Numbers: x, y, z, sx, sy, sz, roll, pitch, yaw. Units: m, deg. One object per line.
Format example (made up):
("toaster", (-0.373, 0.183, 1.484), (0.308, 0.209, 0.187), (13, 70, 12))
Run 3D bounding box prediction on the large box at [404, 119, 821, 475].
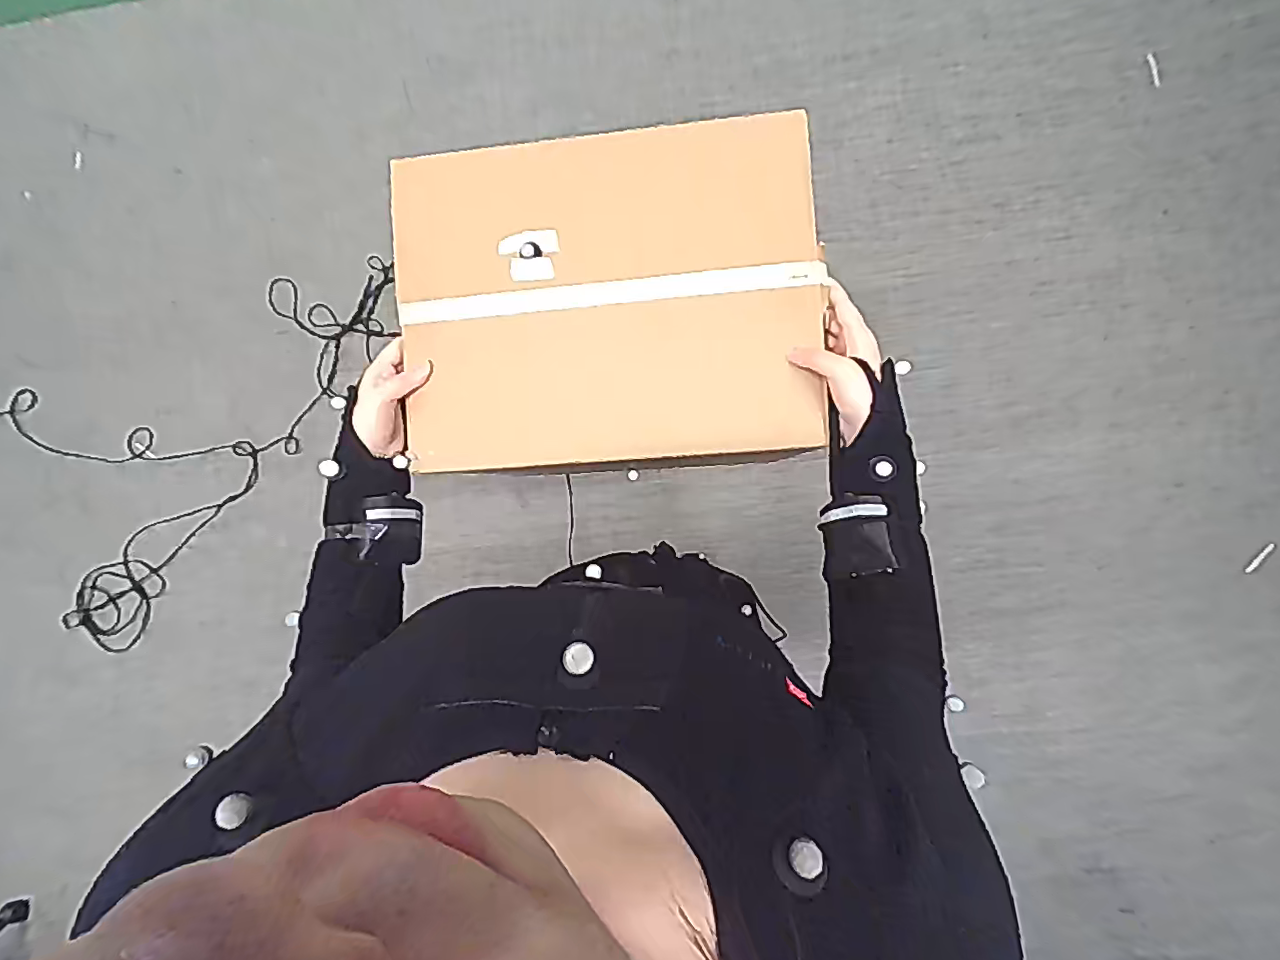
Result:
("large box", (-0.017, -0.175, 0.678), (0.408, 0.320, 0.320), (-4, 89, 7))
